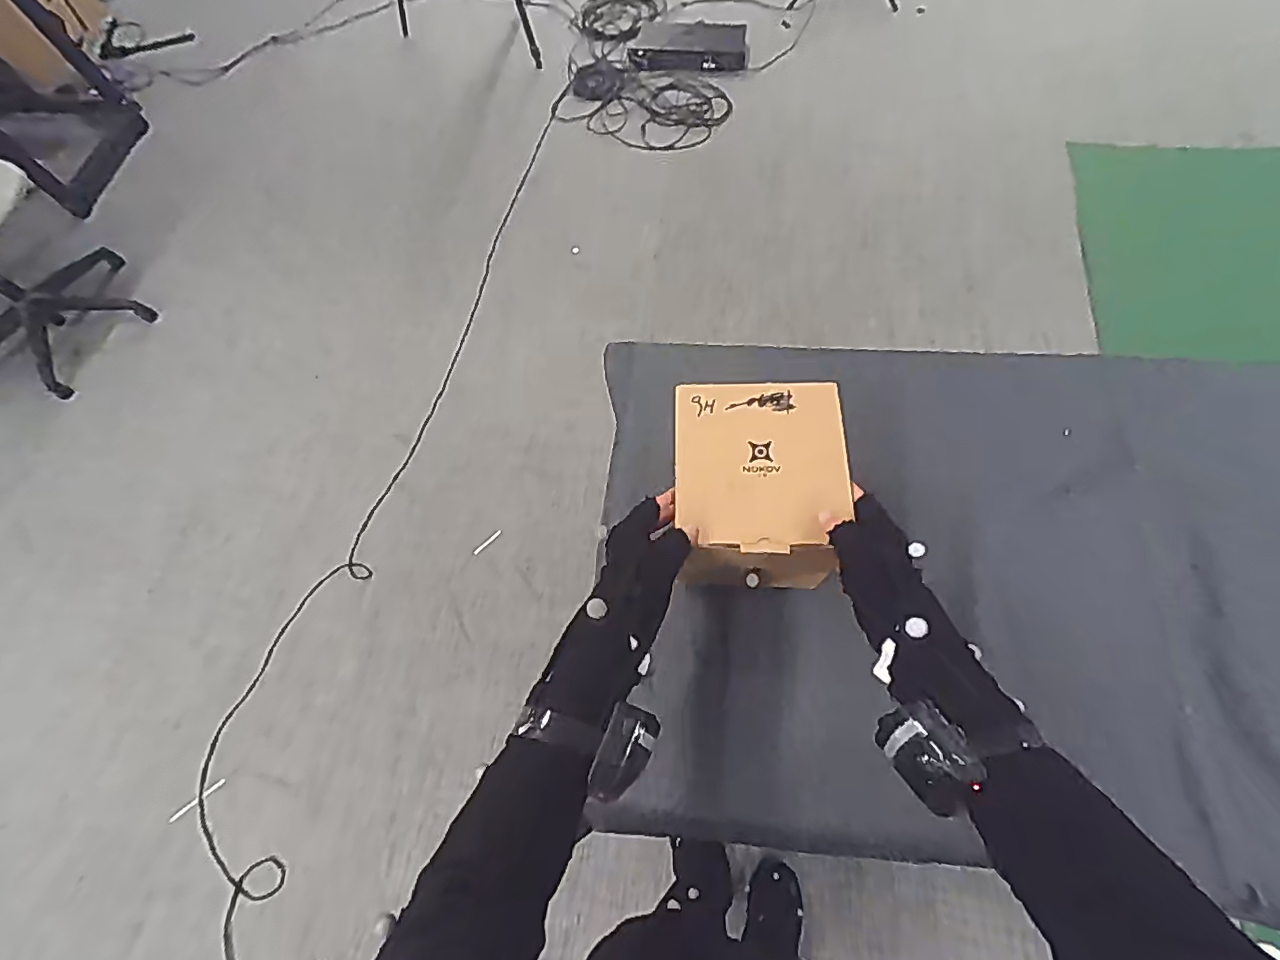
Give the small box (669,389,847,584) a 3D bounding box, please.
[{"bbox_3d":[0.120,0.017,0.604,0.168,0.176,0.179,0,68,5],"label":"small box"}]
